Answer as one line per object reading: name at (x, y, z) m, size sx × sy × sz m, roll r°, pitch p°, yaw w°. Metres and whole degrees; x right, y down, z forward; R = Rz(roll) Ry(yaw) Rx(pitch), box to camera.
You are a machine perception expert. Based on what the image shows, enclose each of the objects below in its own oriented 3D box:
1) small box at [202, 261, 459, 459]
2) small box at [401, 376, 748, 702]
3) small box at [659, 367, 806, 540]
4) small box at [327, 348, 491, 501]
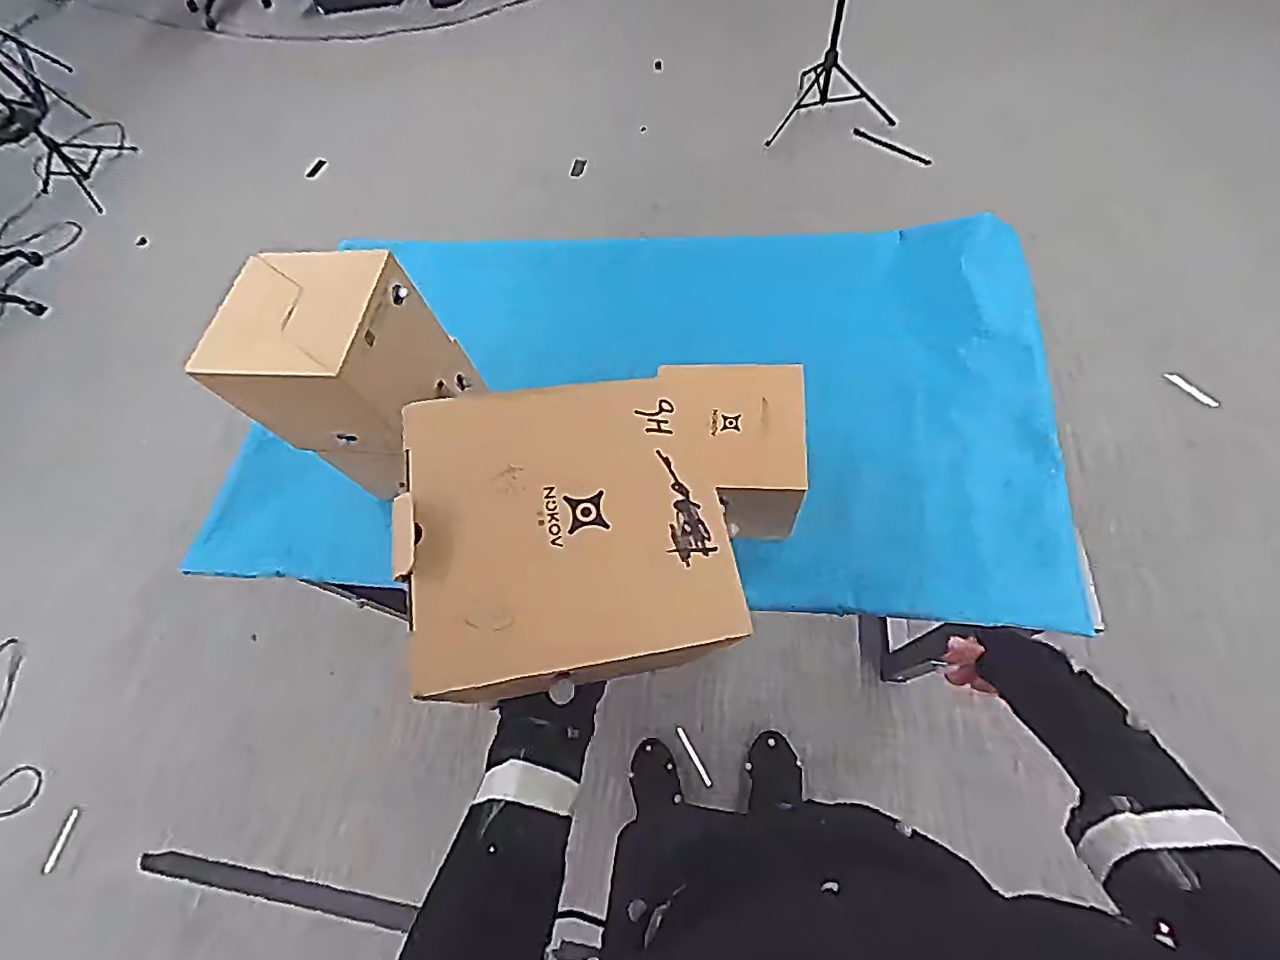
small box at (-0.346, -0.135, 0.635) m, size 0.179 × 0.176 × 0.168 m, roll 3°, pitch 65°, yaw 10°
small box at (-0.049, 0.051, 0.379) m, size 0.179 × 0.176 × 0.168 m, roll -10°, pitch 68°, yaw -11°
small box at (0.113, -0.027, 0.694) m, size 0.179 × 0.176 × 0.168 m, roll 2°, pitch 65°, yaw 10°
small box at (-0.324, -0.075, 0.789) m, size 0.168 × 0.176 × 0.179 m, roll 4°, pitch 67°, yaw 12°
